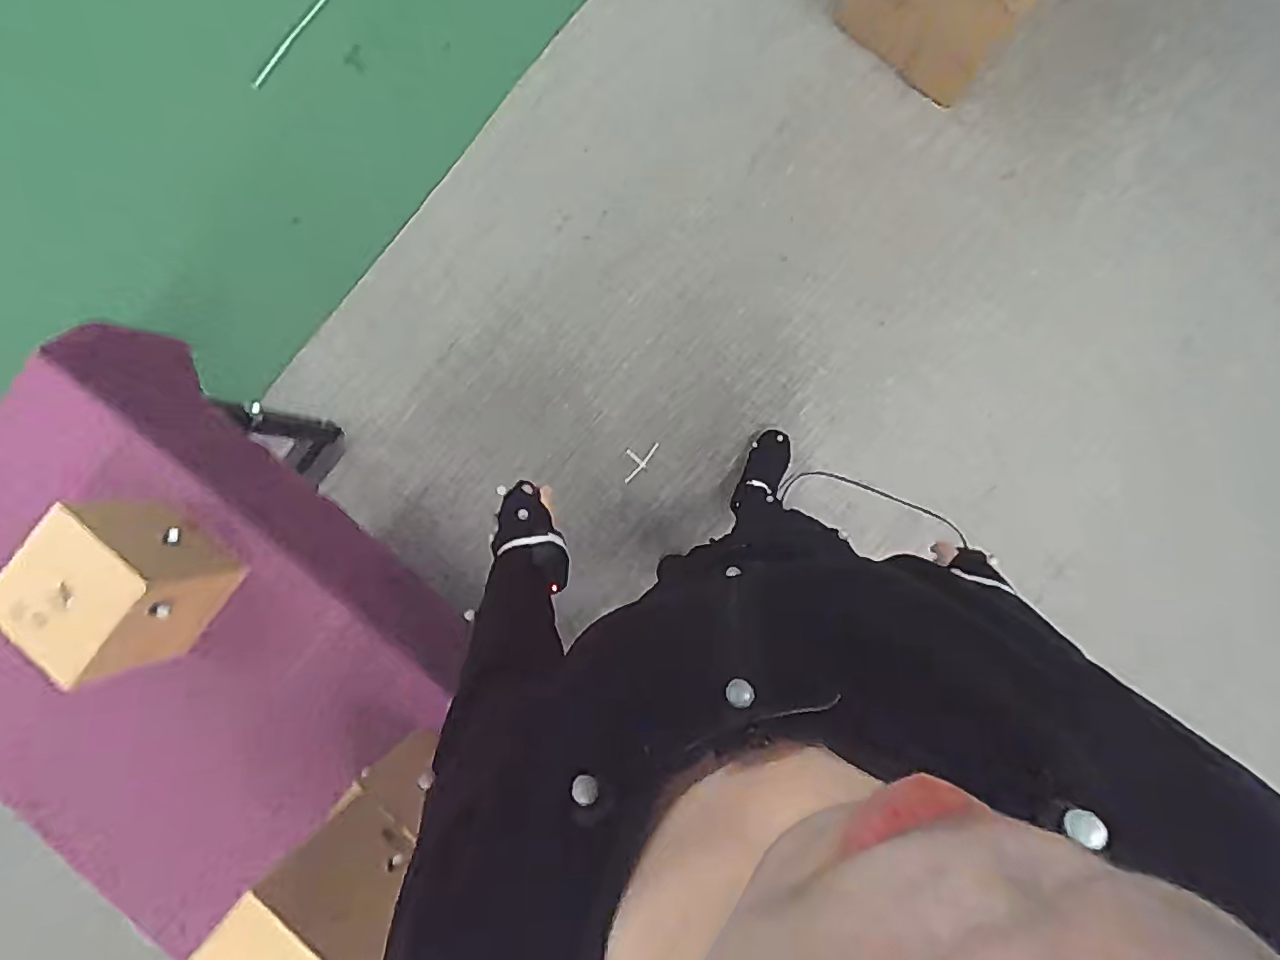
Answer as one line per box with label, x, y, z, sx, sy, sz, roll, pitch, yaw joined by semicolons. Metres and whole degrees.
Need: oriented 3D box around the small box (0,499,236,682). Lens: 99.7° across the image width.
small box;-0.727;0.140;0.762;0.168;0.176;0.179;40;92;4
